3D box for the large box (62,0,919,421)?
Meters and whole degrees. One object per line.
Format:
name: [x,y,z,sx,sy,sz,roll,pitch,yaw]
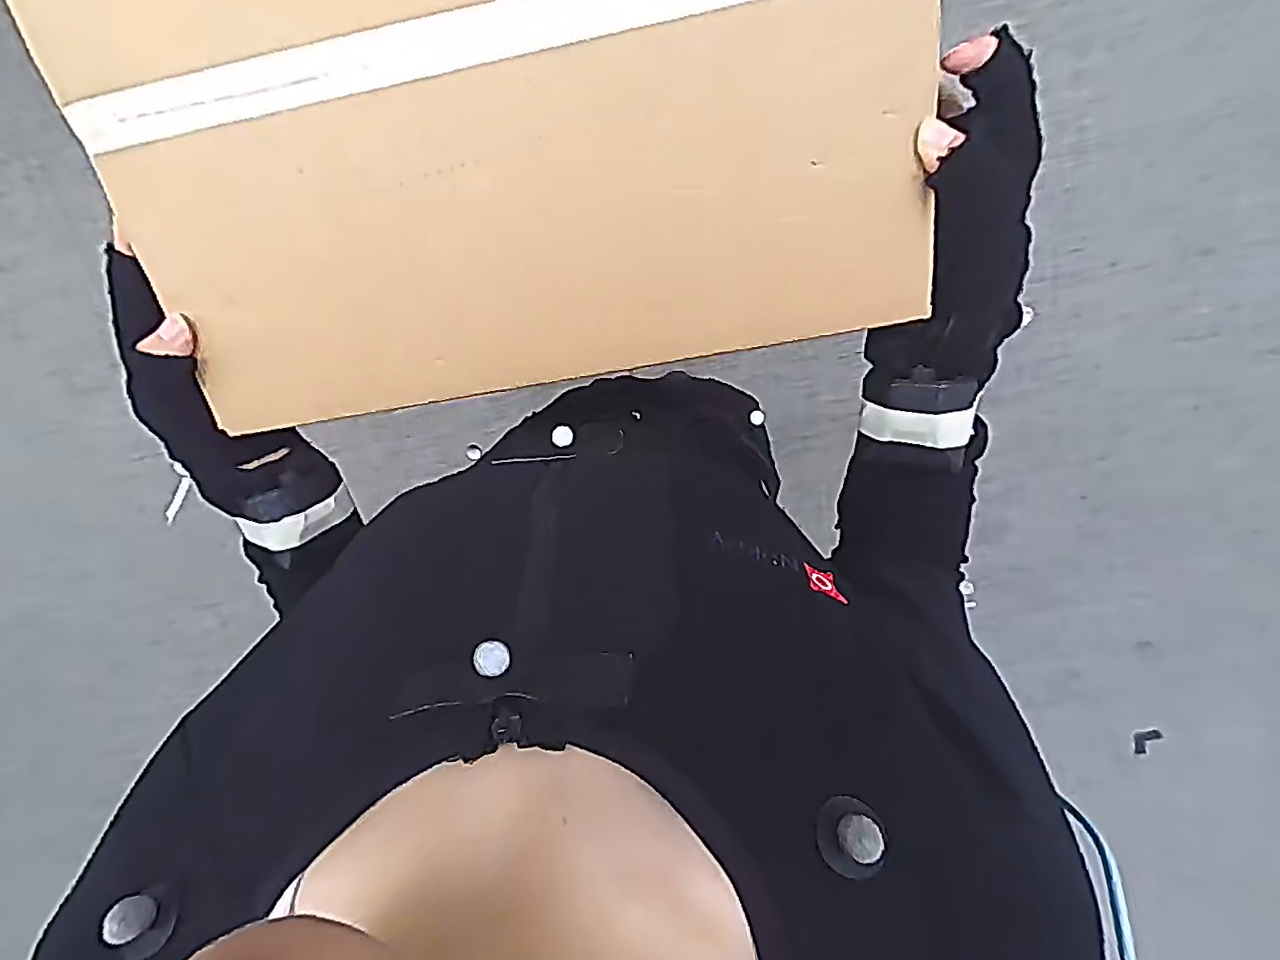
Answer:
large box: [-0.068,-0.261,0.397,0.408,0.320,0.320,-9,112,5]
